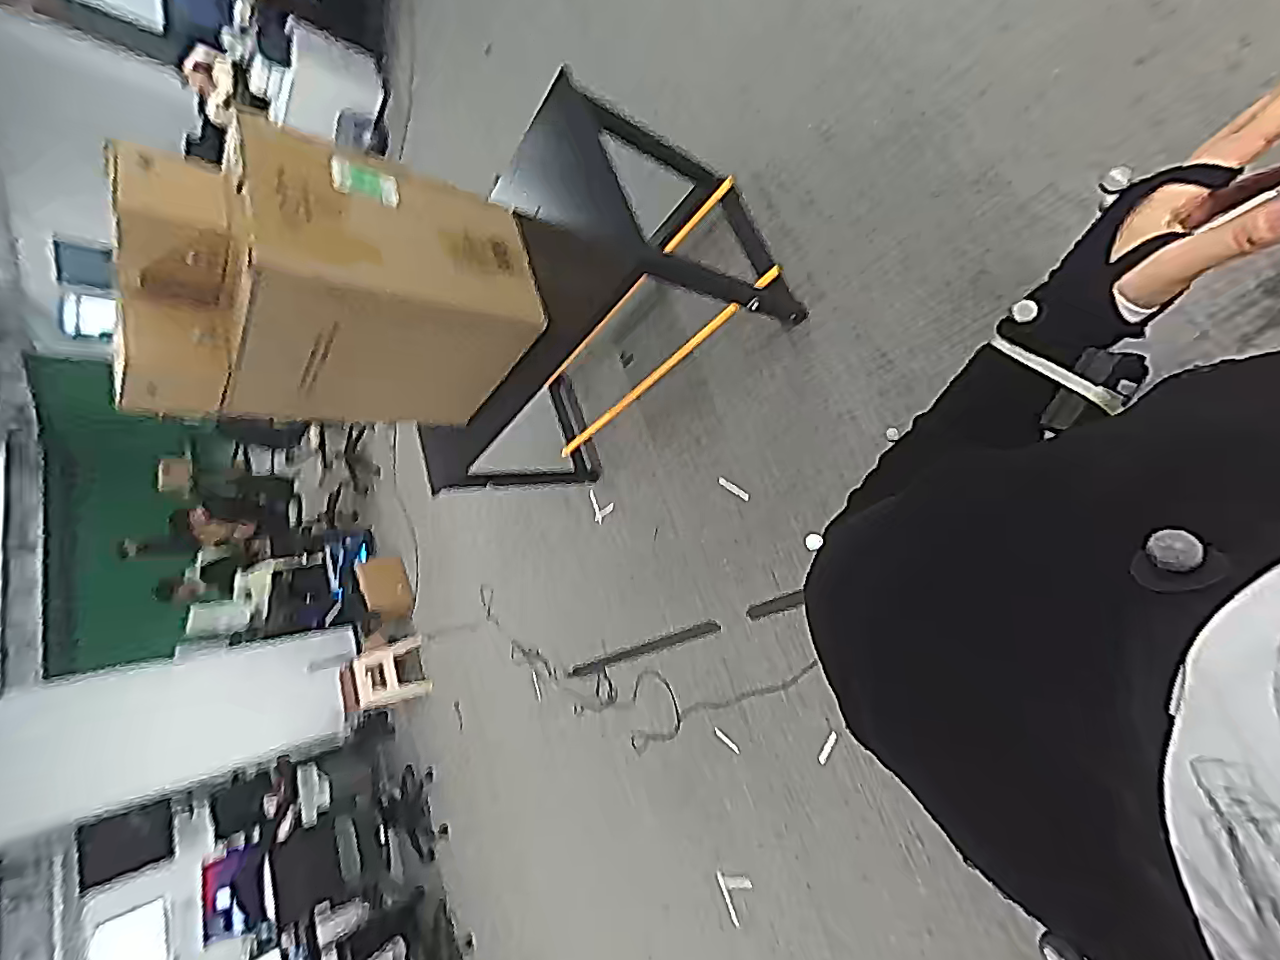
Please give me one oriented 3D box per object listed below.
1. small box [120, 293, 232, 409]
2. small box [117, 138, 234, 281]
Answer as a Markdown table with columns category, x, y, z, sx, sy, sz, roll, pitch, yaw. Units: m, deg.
| category | x | y | z | sx | sy | sz | roll | pitch | yaw |
| --- | --- | --- | --- | --- | --- | --- | --- | --- | --- |
| small box | -1.006 | -0.269 | 1.174 | 0.179 | 0.176 | 0.168 | -37 | 67 | 37 |
| small box | -0.946 | -0.538 | 1.102 | 0.168 | 0.176 | 0.179 | -38 | 64 | 41 |
